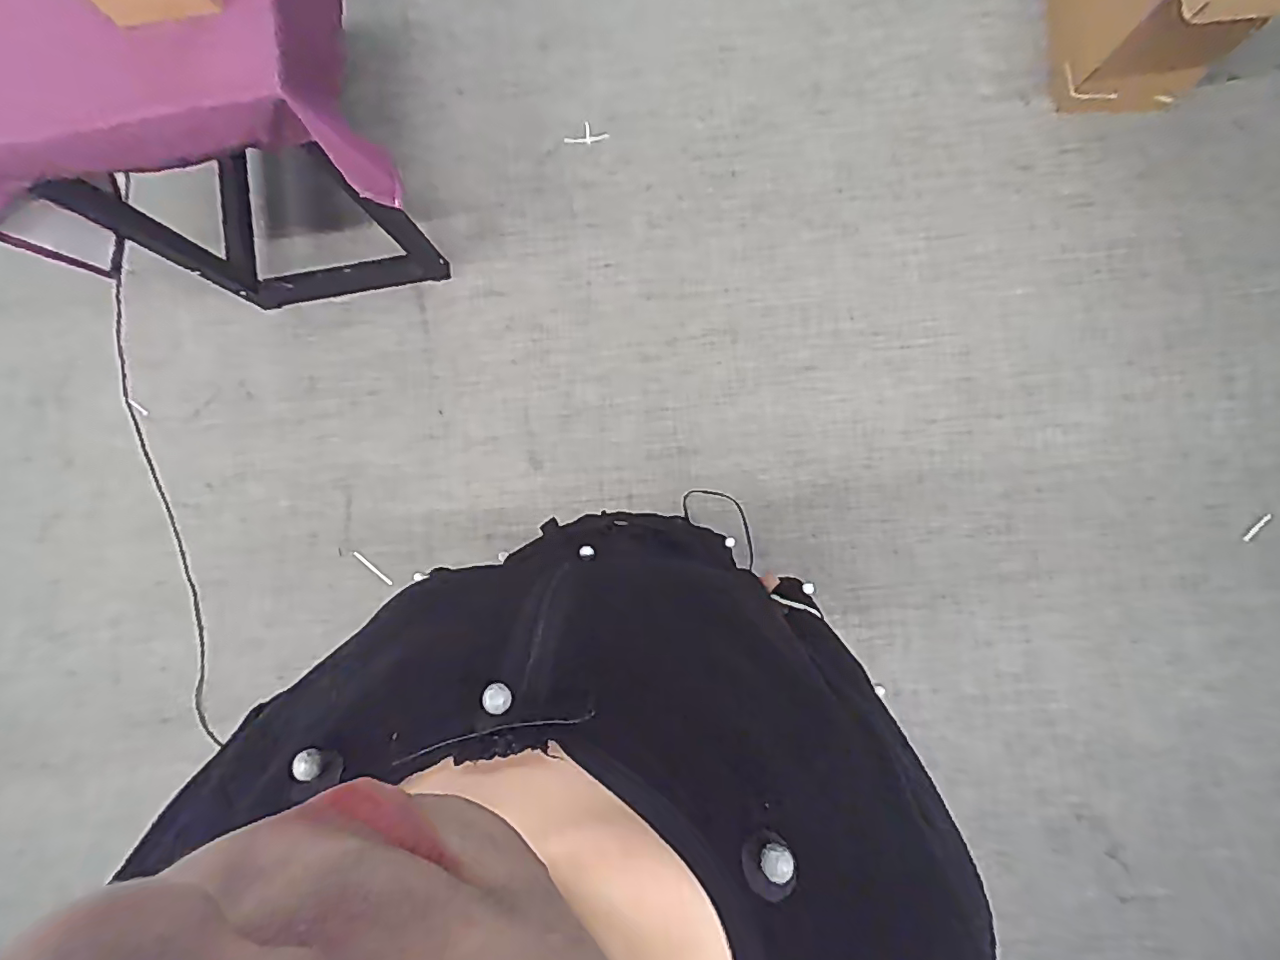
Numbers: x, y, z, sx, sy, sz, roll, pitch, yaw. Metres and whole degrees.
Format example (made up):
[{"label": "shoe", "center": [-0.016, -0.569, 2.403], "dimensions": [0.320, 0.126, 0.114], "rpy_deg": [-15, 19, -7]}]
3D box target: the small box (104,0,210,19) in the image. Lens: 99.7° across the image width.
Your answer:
[{"label": "small box", "center": [-0.767, -0.841, 0.802], "dimensions": [0.179, 0.176, 0.168], "rpy_deg": [-5, 86, 3]}]
